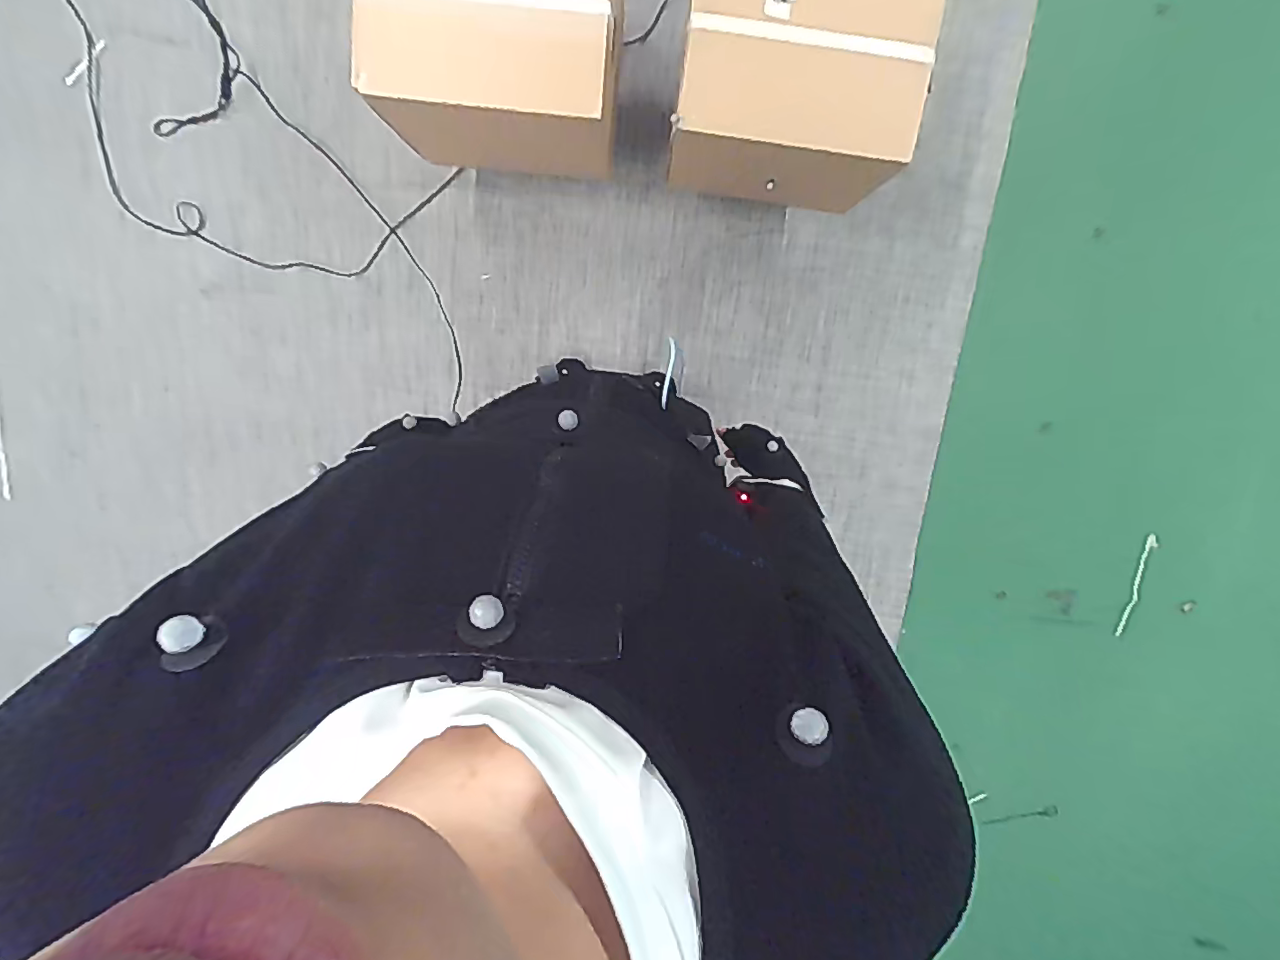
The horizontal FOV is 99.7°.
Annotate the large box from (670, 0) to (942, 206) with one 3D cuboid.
[{"bbox_3d":[0.283,-0.750,1.033,0.408,0.320,0.320,8,102,-2],"label":"large box"}]
